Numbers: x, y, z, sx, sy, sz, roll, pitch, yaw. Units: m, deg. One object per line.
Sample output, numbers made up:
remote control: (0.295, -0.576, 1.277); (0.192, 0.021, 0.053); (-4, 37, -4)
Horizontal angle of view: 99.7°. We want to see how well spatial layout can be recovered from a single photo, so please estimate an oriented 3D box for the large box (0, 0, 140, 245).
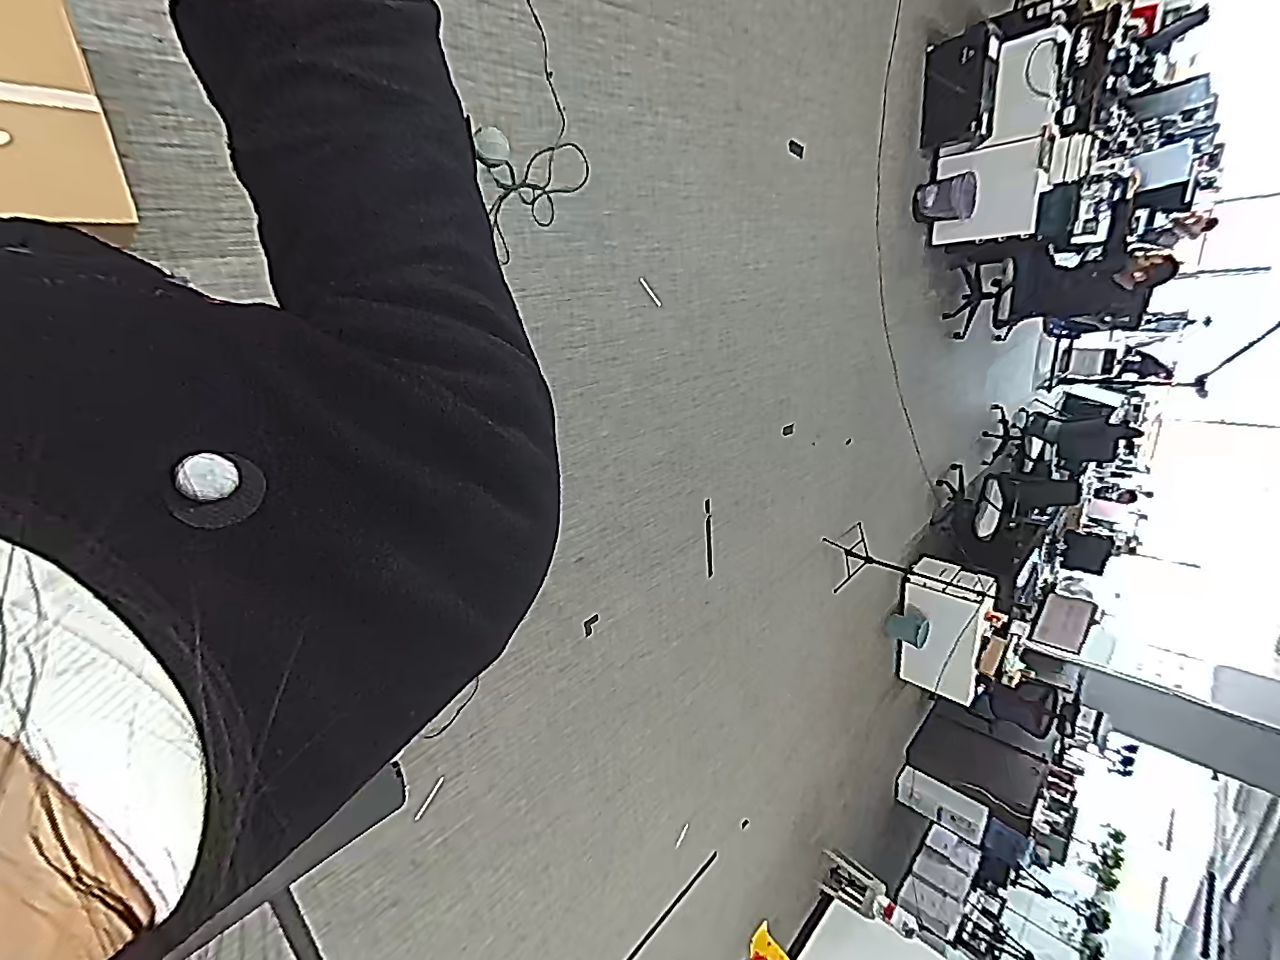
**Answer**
large box: (-1.024, -0.512, 0.754); (0.408, 0.320, 0.320); (-22, 116, -41)
